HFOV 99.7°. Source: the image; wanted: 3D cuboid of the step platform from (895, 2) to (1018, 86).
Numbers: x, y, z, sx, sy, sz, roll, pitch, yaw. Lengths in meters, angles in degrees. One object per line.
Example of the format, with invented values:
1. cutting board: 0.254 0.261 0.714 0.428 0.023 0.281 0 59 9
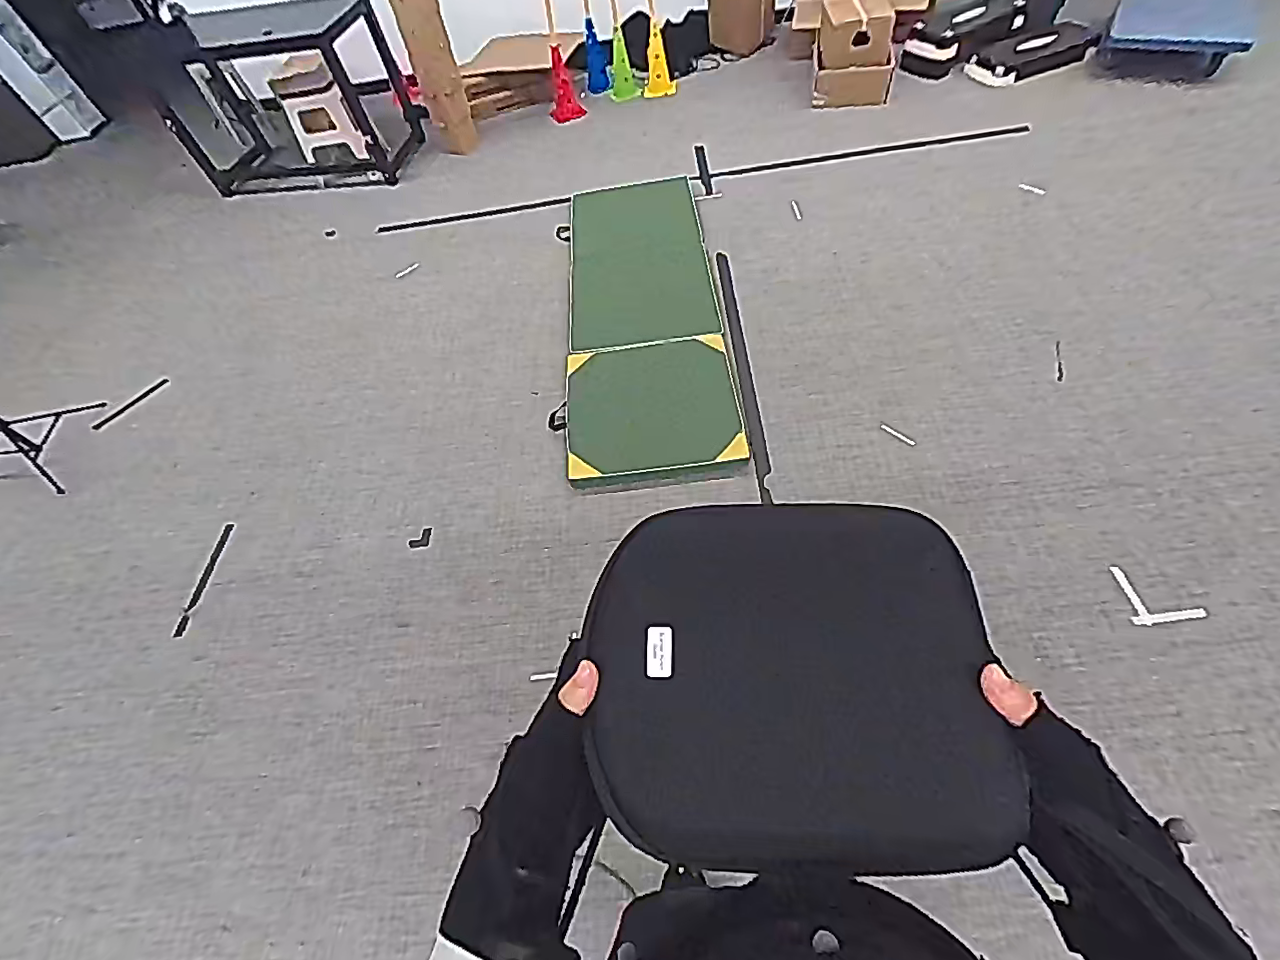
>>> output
1. step platform: 1.834 -2.535 3.135 0.684 0.204 0.286 -31 57 -12
